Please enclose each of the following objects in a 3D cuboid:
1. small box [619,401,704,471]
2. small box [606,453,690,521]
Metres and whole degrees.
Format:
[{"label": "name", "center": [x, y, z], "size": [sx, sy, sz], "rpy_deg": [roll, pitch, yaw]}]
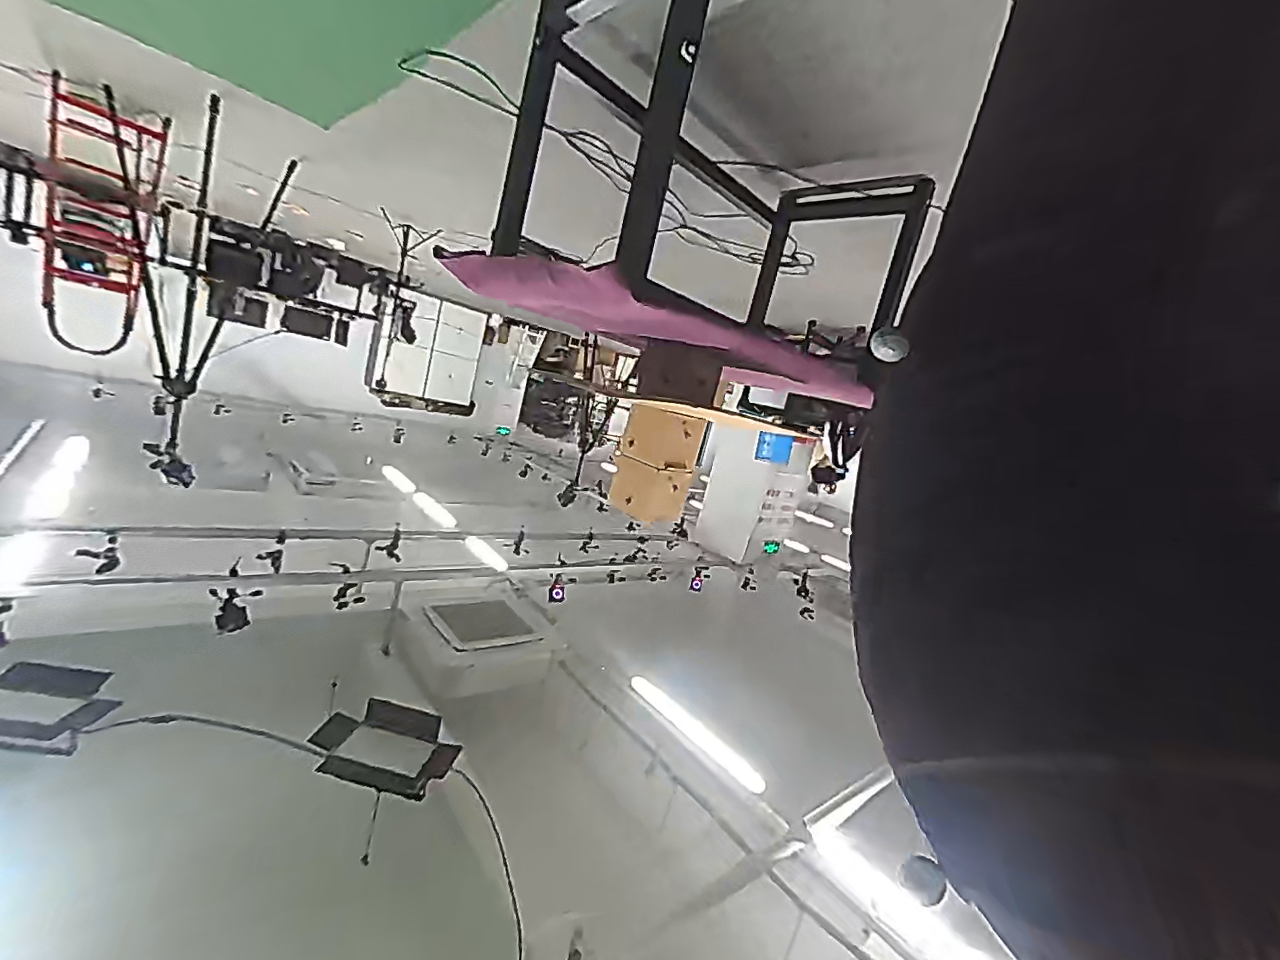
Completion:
[{"label": "small box", "center": [0.069, -0.138, 1.642], "size": [0.168, 0.176, 0.179], "rpy_deg": [5, -166, -46]}, {"label": "small box", "center": [0.027, 0.017, 1.669], "size": [0.168, 0.176, 0.179], "rpy_deg": [6, -167, -46]}]
